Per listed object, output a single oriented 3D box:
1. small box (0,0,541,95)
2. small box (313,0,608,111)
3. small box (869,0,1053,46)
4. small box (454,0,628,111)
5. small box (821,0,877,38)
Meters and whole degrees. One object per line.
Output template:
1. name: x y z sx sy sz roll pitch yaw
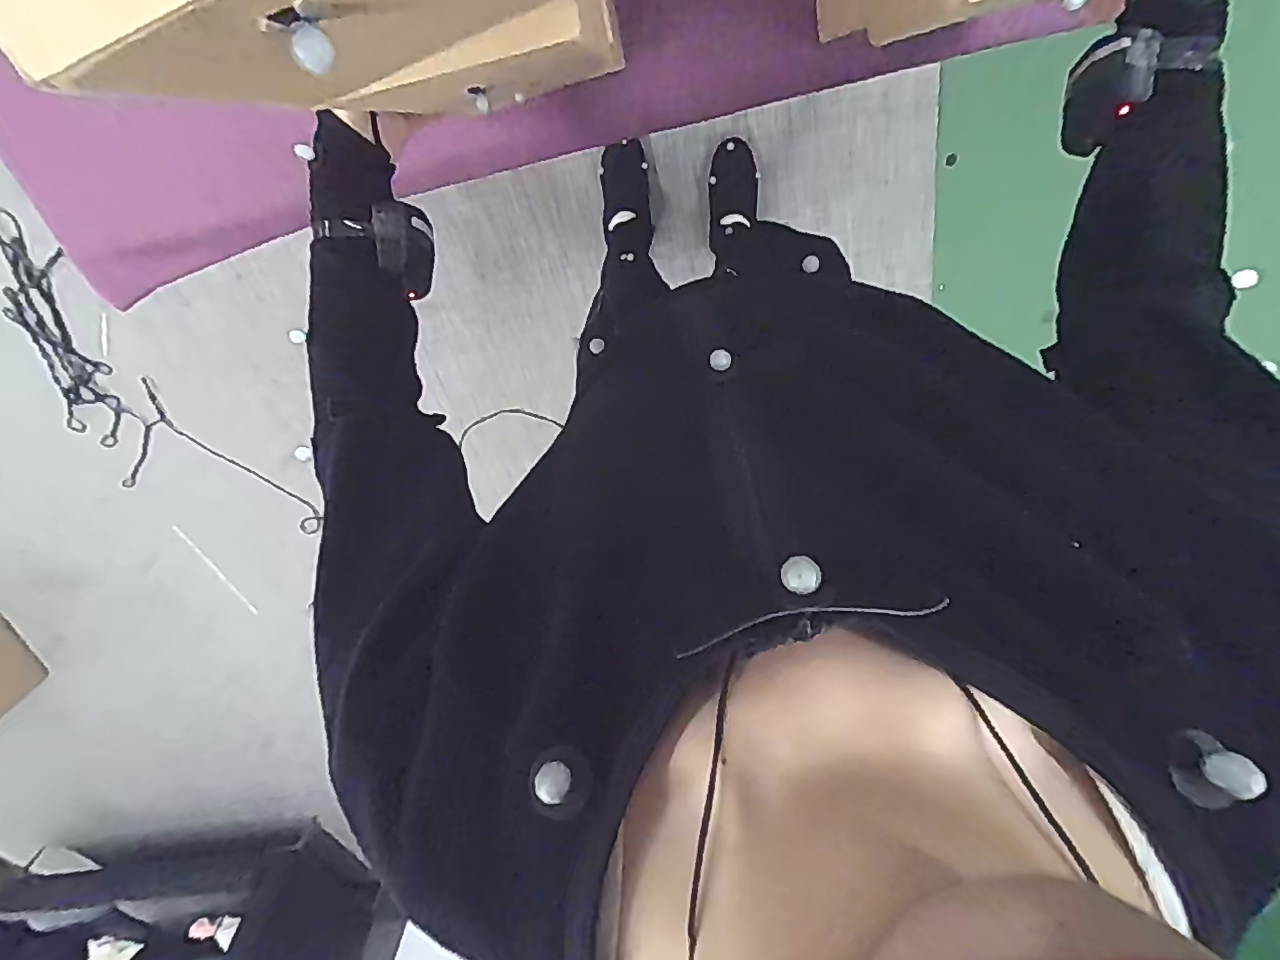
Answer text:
1. small box: -0.135 -0.261 0.190 0.179 0.176 0.168 -12 122 13
2. small box: -0.121 -0.344 0.329 0.168 0.176 0.179 -7 122 8
3. small box: 0.227 -0.369 0.285 0.168 0.176 0.179 -10 121 11
4. small box: -0.118 -0.436 0.465 0.179 0.176 0.168 -10 121 10
5. small box: 0.235 -0.473 0.413 0.179 0.176 0.168 -12 121 12
